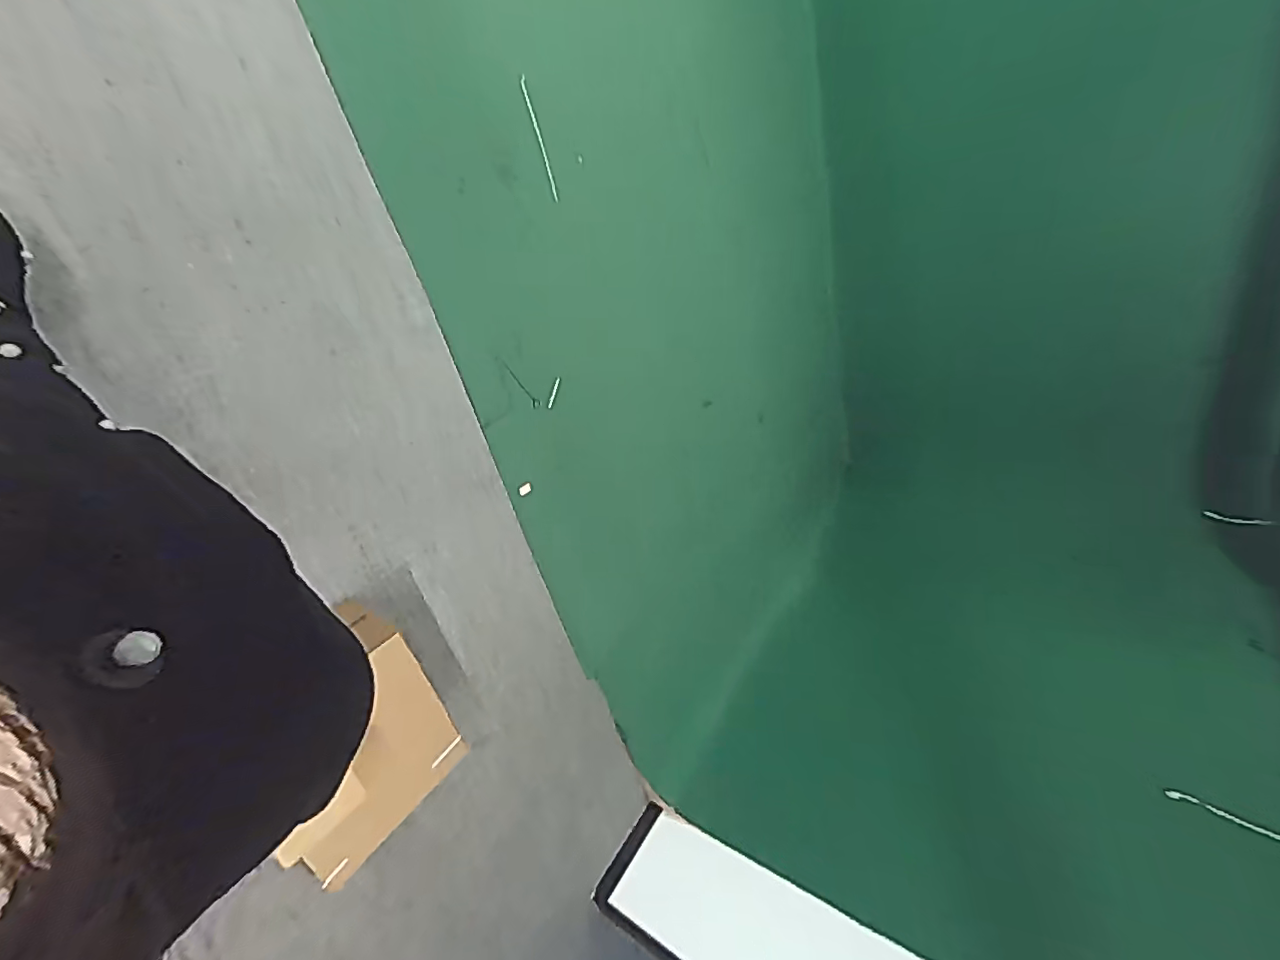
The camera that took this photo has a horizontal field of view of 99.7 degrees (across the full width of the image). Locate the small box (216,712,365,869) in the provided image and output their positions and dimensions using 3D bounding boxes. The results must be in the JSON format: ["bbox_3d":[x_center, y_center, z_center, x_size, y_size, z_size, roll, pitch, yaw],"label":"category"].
[{"bbox_3d":[-0.685,0.597,1.063,0.168,0.176,0.179,-36,124,-41],"label":"small box"}]
